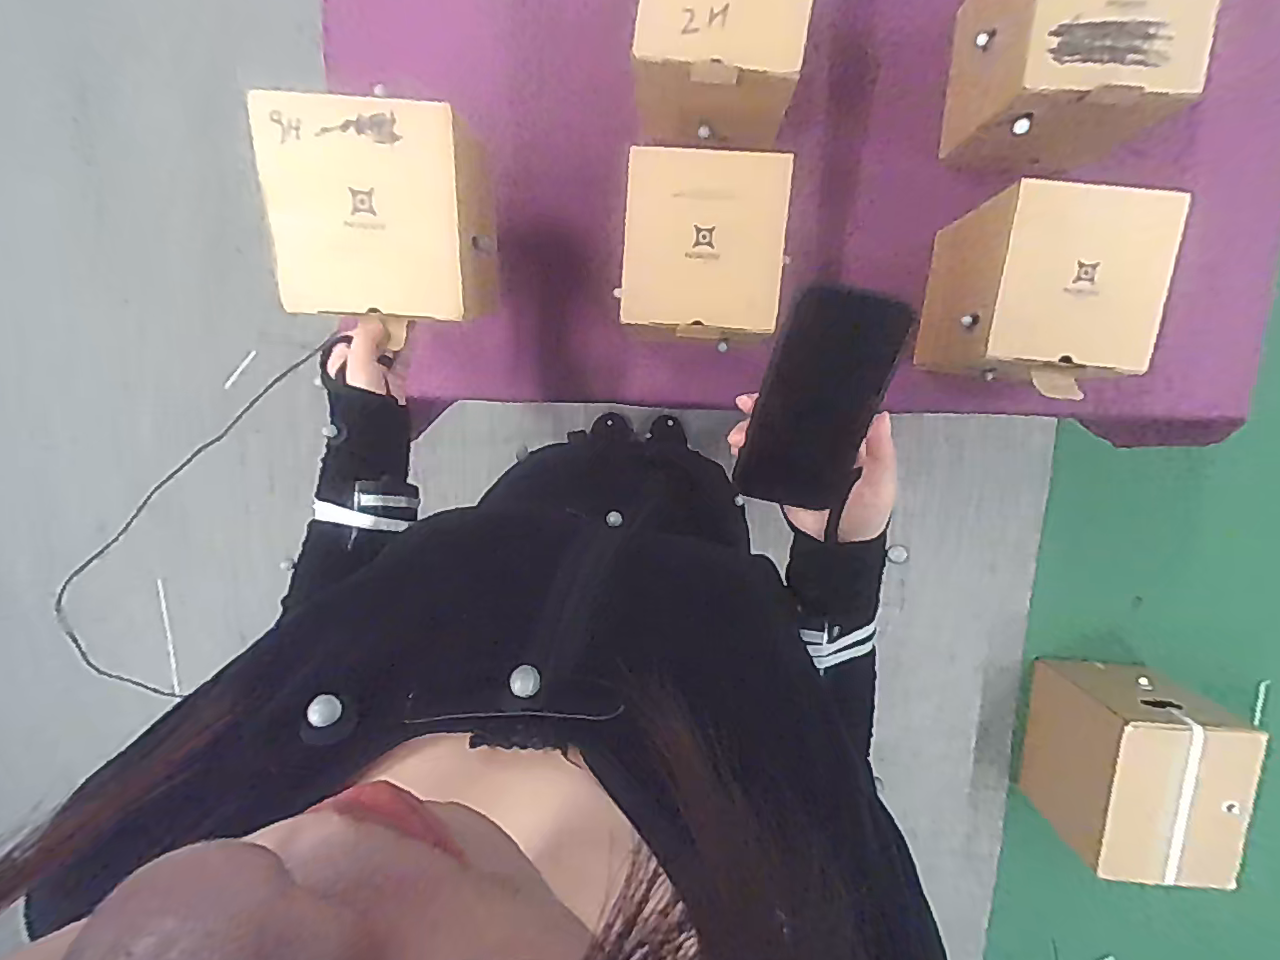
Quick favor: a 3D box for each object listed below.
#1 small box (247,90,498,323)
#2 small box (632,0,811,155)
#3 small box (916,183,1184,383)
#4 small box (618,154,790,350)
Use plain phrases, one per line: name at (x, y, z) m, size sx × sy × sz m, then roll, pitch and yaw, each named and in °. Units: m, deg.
small box at (-0.243, -0.260, 0.544) m, size 0.168 × 0.176 × 0.179 m, roll 2°, pitch 111°, yaw -3°
small box at (0.088, -0.494, 0.592) m, size 0.168 × 0.176 × 0.179 m, roll 9°, pitch 99°, yaw 2°
small box at (0.444, -0.209, 0.620) m, size 0.168 × 0.176 × 0.179 m, roll 7°, pitch 99°, yaw 2°
small box at (0.068, -0.250, 0.633) m, size 0.168 × 0.176 × 0.179 m, roll 4°, pitch 98°, yaw 2°
